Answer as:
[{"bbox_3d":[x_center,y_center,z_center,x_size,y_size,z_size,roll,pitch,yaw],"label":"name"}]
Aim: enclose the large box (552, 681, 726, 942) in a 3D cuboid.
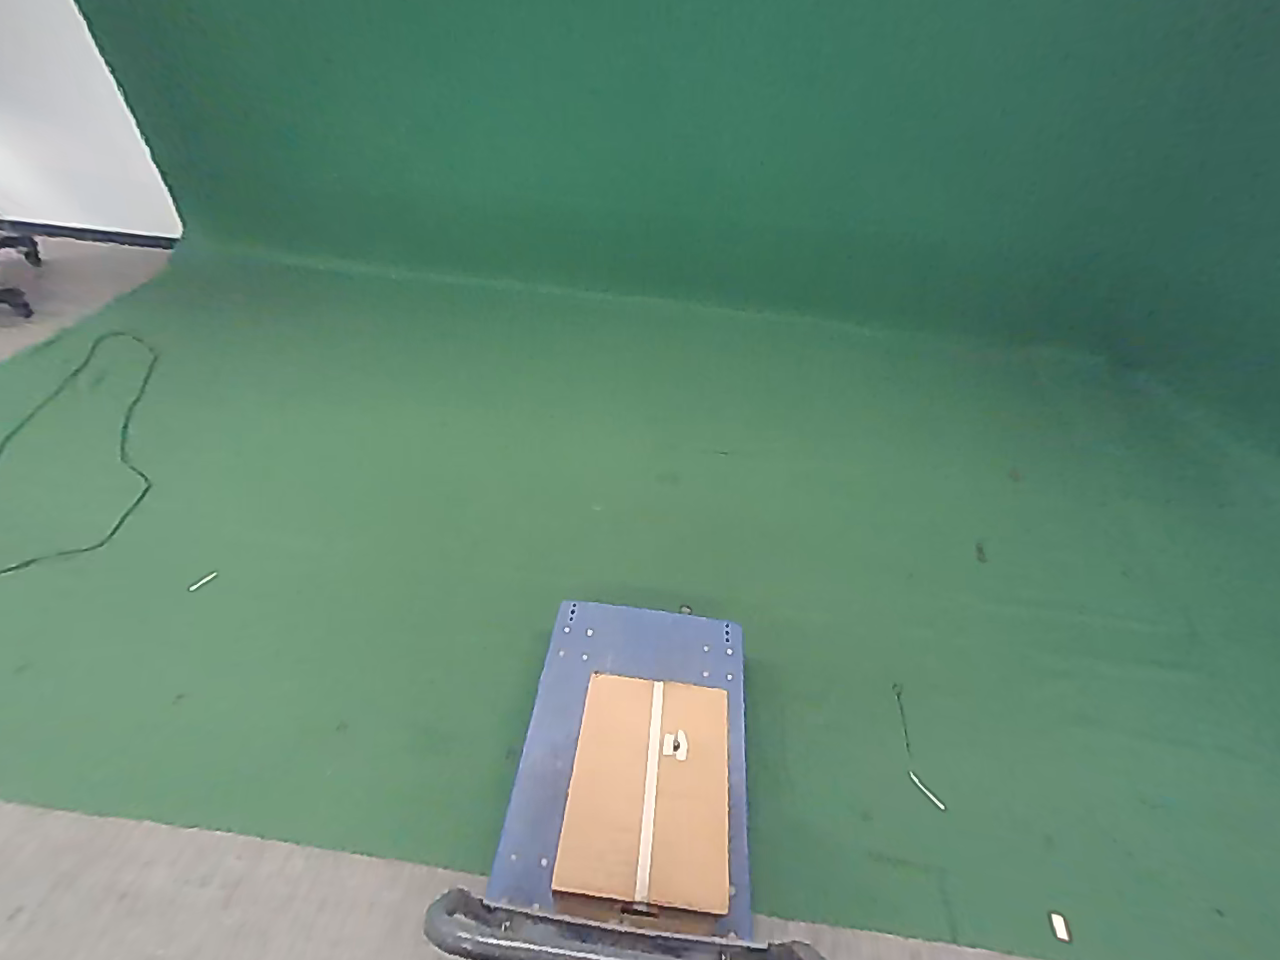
[{"bbox_3d":[0.002,0.713,1.177,0.320,0.320,0.408,7,42,1],"label":"large box"}]
